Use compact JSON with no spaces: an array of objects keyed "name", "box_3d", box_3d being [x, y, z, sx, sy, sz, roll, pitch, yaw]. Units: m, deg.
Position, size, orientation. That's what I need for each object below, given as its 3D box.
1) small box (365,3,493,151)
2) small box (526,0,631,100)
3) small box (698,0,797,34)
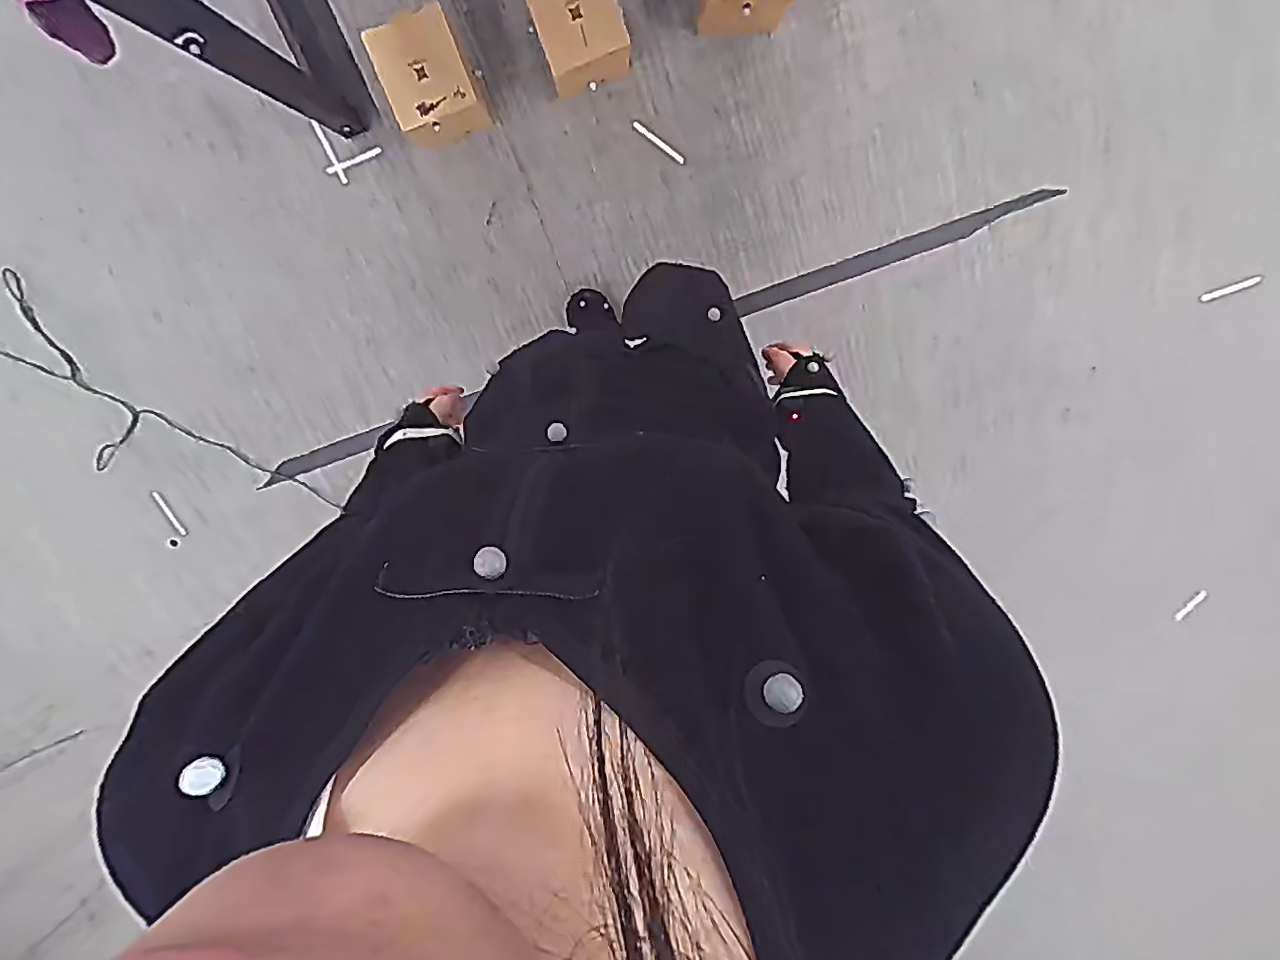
[{"name":"small box","box_3d":[-0.426,-0.821,1.122,0.168,0.176,0.179,-18,108,4]},{"name":"small box","box_3d":[-0.126,-0.920,1.100,0.168,0.176,0.179,-20,111,5]},{"name":"small box","box_3d":[0.214,-1.026,1.080,0.179,0.176,0.168,-3,111,-1]}]
